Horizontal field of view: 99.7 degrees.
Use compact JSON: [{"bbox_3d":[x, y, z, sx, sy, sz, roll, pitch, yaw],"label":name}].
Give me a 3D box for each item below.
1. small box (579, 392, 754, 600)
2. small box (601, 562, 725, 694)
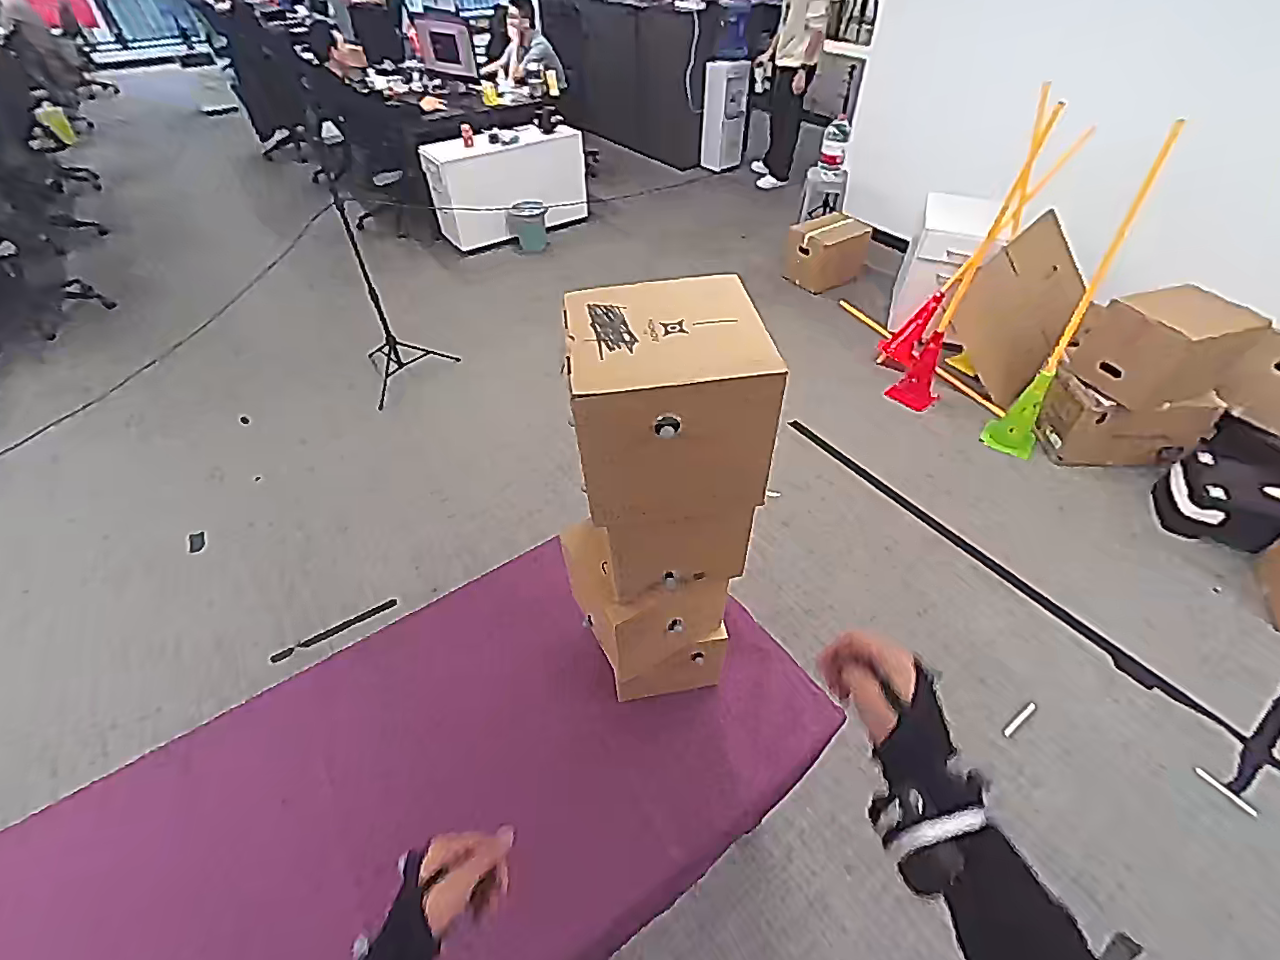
[{"bbox_3d":[0.024,0.020,0.668,0.168,0.176,0.179,-12,49,-7],"label":"small box"},{"bbox_3d":[0.031,0.240,0.910,0.179,0.176,0.168,-8,47,-5],"label":"small box"}]
